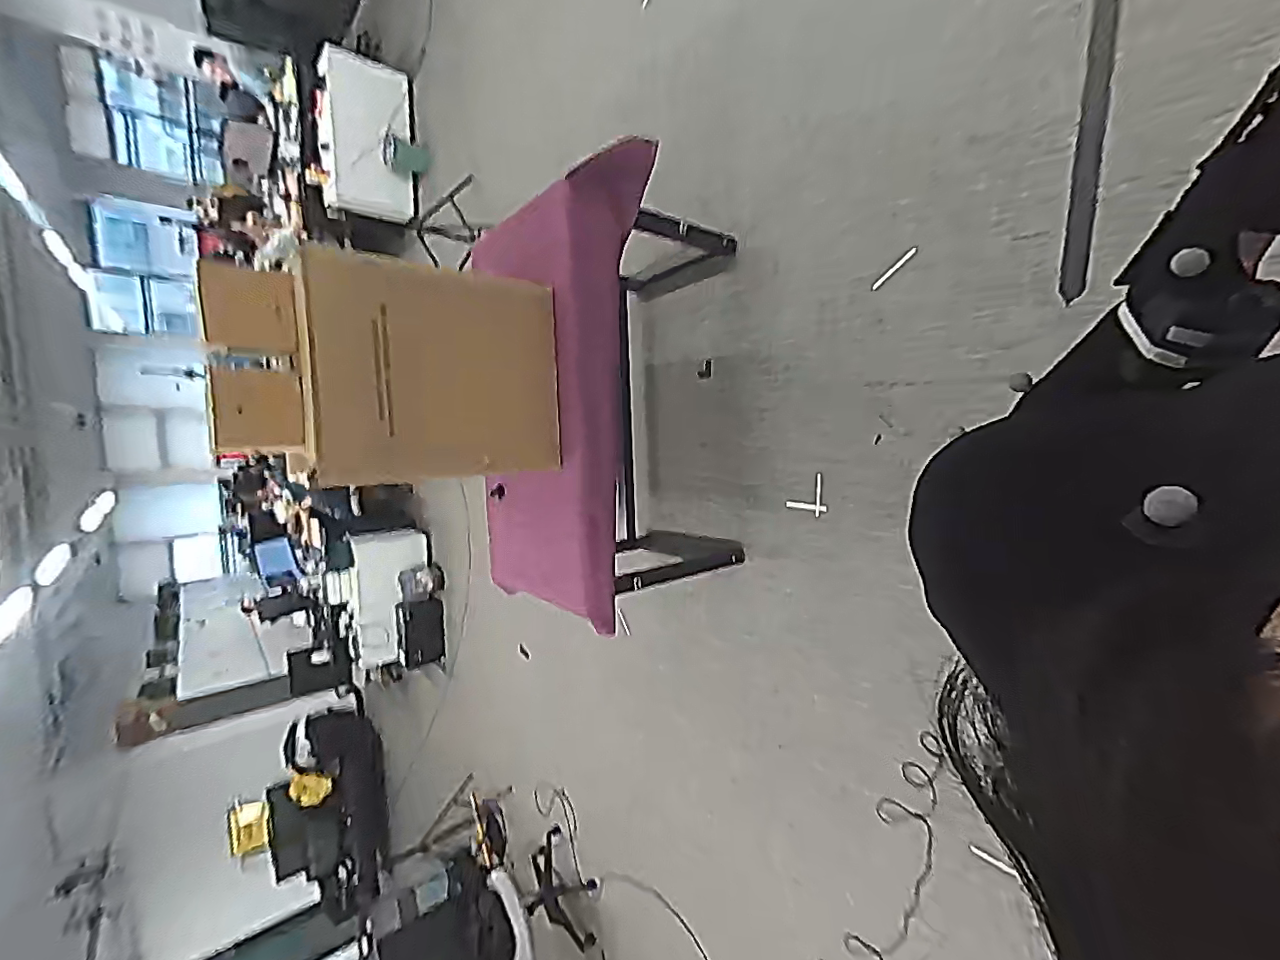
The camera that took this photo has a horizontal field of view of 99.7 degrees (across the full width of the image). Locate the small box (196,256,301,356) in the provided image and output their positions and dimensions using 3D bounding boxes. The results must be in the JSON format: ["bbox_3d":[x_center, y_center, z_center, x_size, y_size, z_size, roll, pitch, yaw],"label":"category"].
[{"bbox_3d":[-0.882,-0.381,1.220,0.168,0.176,0.179,4,98,49],"label":"small box"}]
